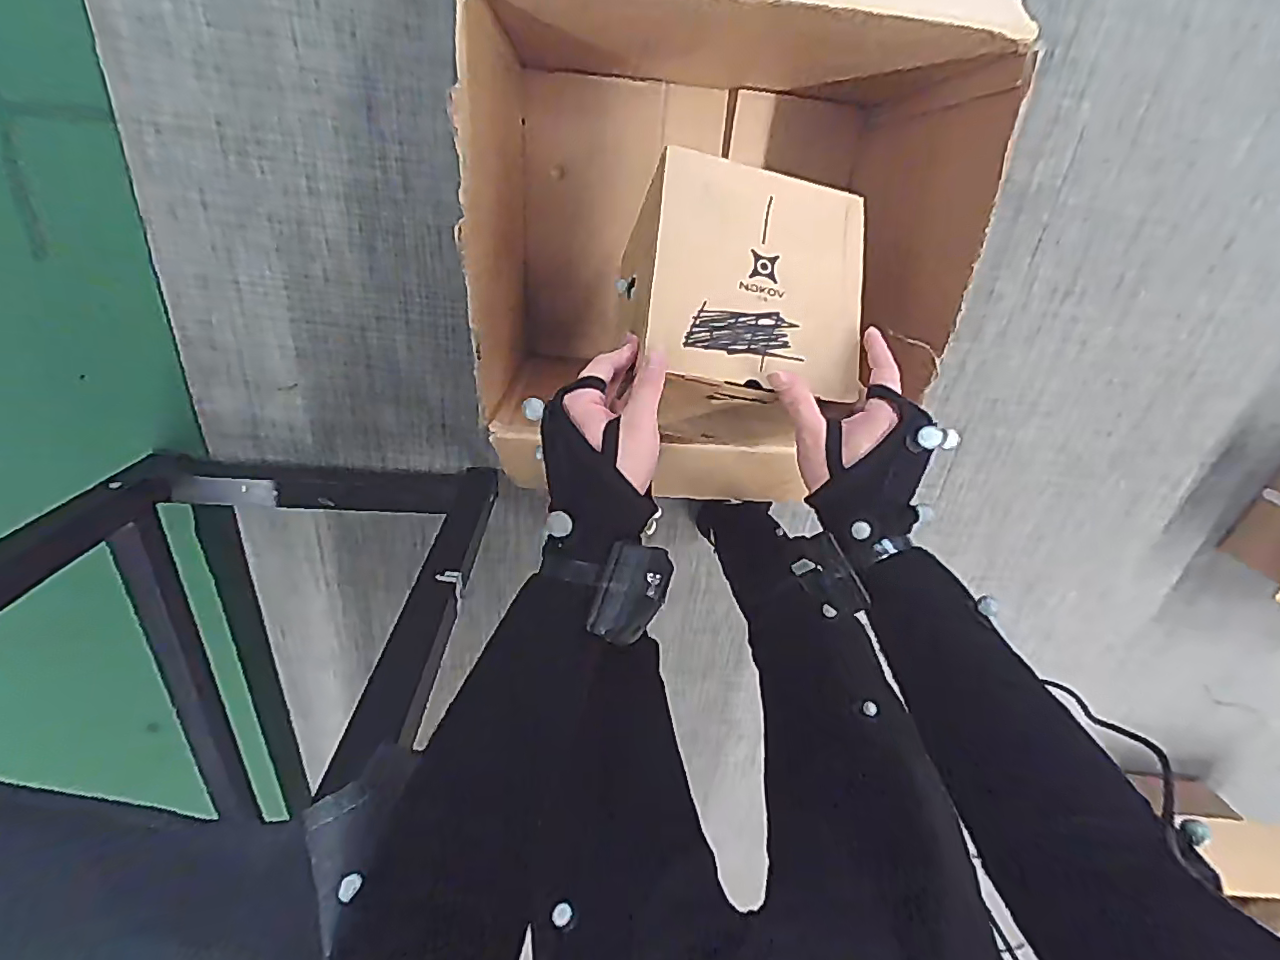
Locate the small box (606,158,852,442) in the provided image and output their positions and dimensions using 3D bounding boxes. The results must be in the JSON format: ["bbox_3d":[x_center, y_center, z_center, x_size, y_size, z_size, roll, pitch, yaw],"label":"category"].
[{"bbox_3d":[0.068,-0.141,0.495,0.168,0.176,0.179,9,80,-12],"label":"small box"}]
